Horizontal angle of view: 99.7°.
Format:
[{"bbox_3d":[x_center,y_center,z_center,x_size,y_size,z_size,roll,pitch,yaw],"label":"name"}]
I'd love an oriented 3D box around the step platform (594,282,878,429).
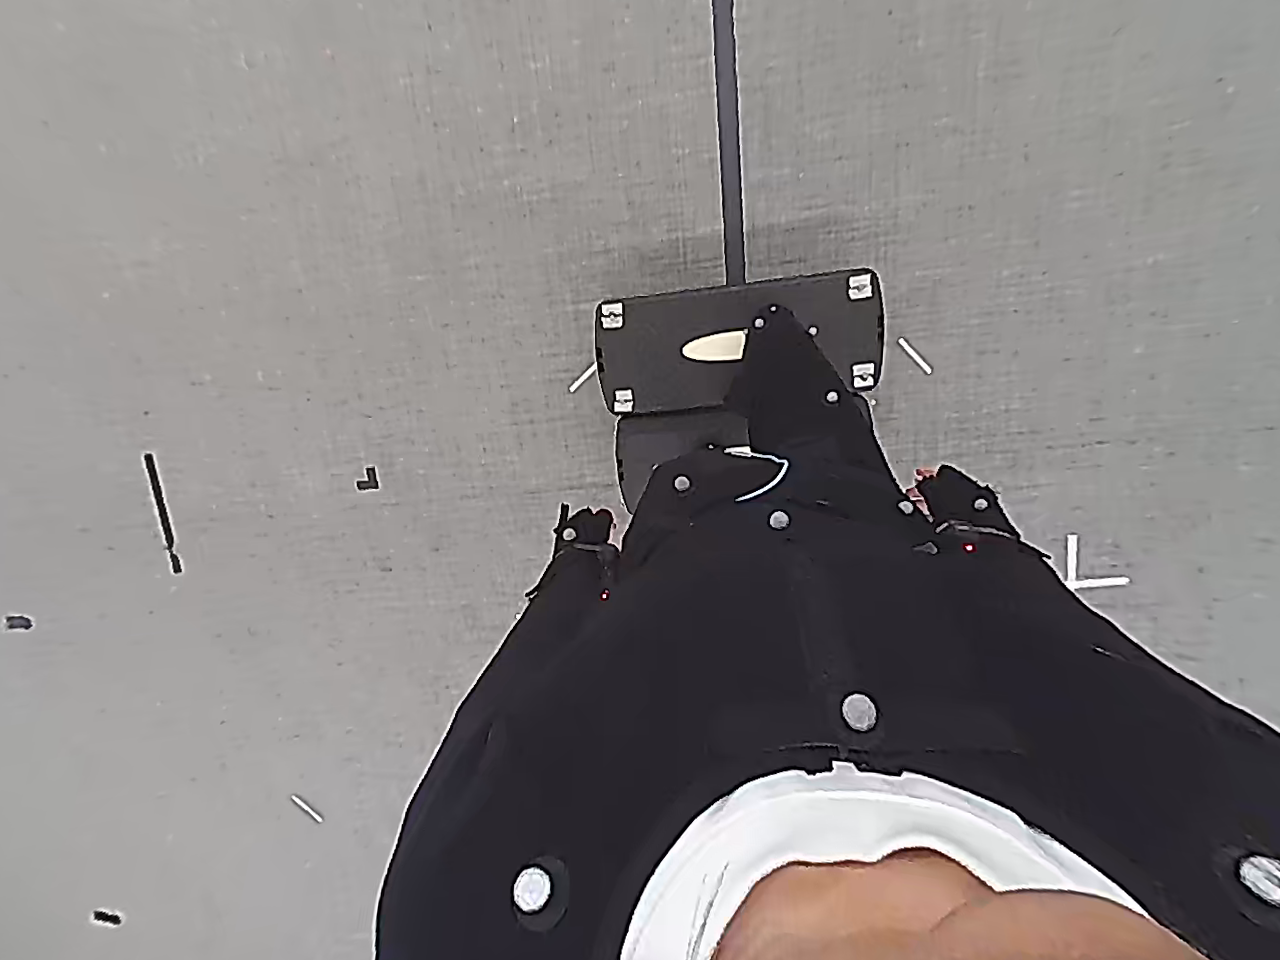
[{"bbox_3d":[0.226,-0.305,1.356,0.684,0.204,0.286,-6,102,7],"label":"step platform"}]
